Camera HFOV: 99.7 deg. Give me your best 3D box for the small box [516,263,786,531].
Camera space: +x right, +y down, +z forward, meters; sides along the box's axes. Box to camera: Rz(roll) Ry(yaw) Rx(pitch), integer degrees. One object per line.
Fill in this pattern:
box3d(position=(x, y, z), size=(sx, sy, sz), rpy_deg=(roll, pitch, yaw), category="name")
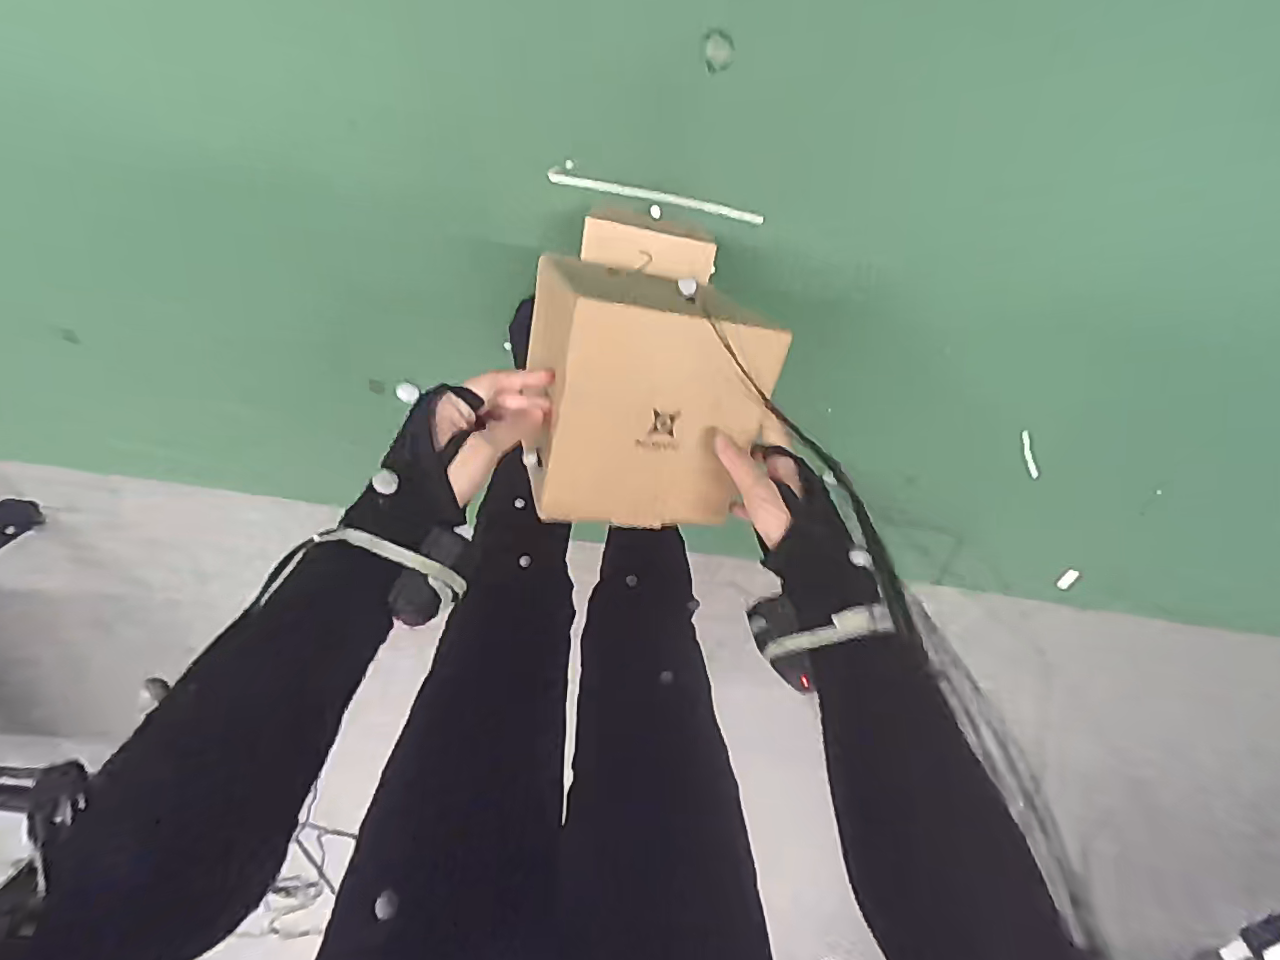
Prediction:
box3d(position=(-0.010, -0.075, 0.466), size=(0.168, 0.176, 0.179), rpy_deg=(2, 121, -21), category="small box")
